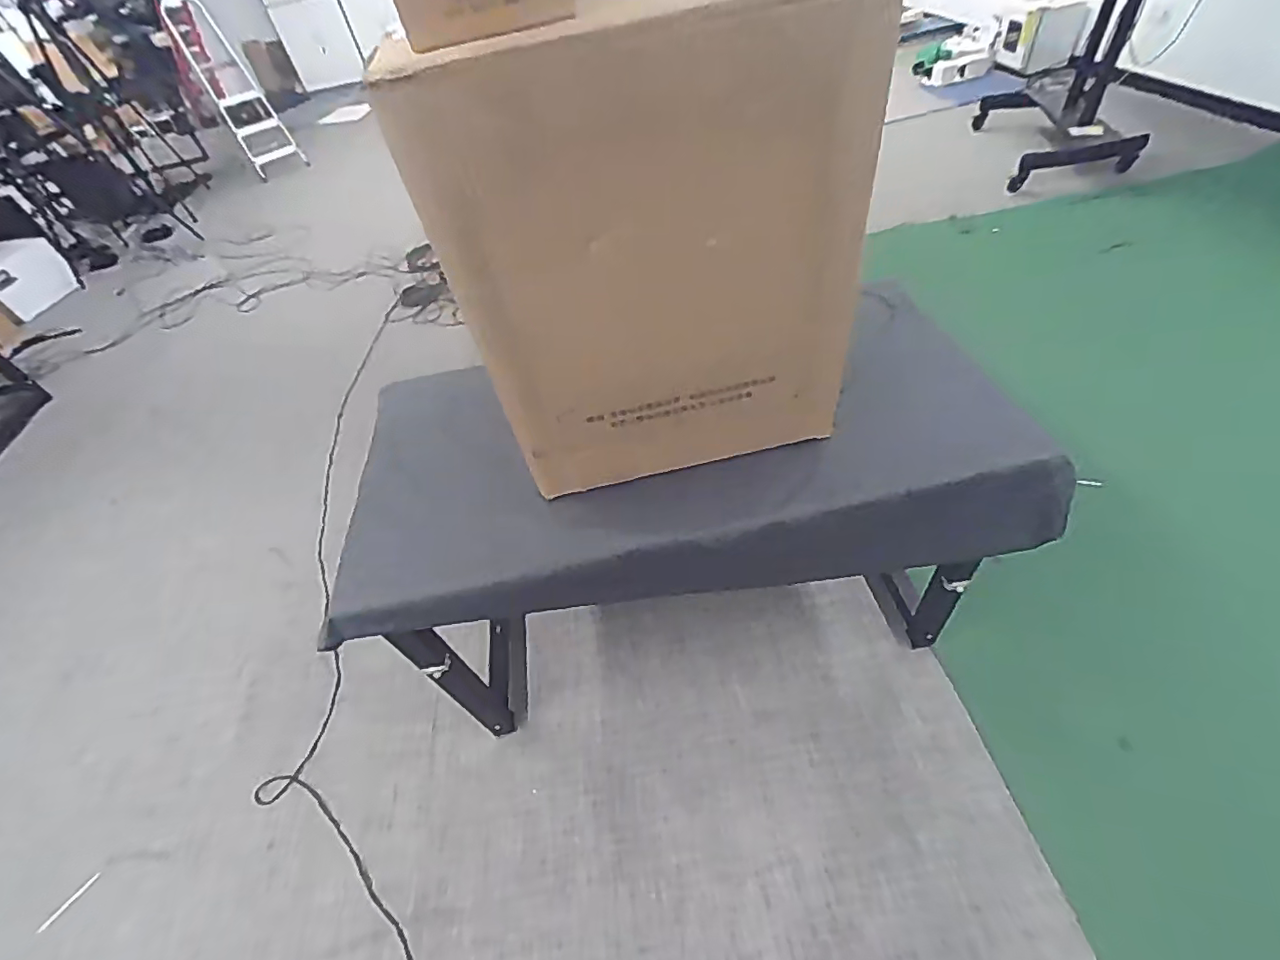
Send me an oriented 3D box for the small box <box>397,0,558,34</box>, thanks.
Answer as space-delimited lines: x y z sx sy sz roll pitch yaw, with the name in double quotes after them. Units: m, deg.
-0.171 -0.548 0.502 0.168 0.176 0.179 -17 52 -3 "small box"
